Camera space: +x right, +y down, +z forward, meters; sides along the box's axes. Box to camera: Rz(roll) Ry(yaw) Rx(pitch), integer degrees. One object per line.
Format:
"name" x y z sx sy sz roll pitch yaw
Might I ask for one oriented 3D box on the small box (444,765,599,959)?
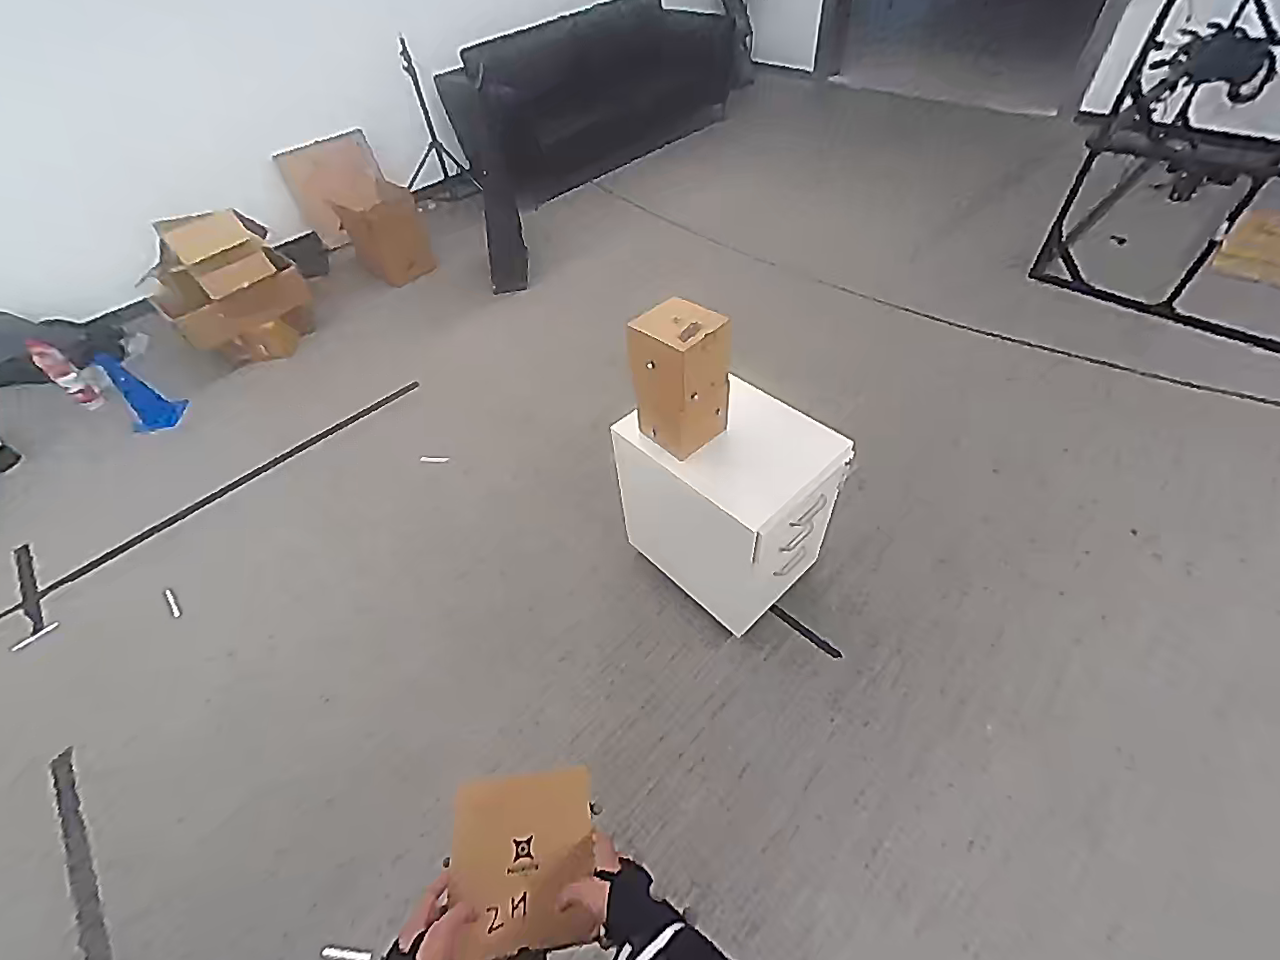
"small box" -0.144 0.484 0.690 0.168 0.176 0.179 -3 54 -9

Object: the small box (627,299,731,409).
"small box" 0.094 -0.292 1.273 0.179 0.176 0.168 34 58 31

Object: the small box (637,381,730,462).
"small box" 0.109 -0.181 1.393 0.179 0.176 0.168 -35 55 -24
